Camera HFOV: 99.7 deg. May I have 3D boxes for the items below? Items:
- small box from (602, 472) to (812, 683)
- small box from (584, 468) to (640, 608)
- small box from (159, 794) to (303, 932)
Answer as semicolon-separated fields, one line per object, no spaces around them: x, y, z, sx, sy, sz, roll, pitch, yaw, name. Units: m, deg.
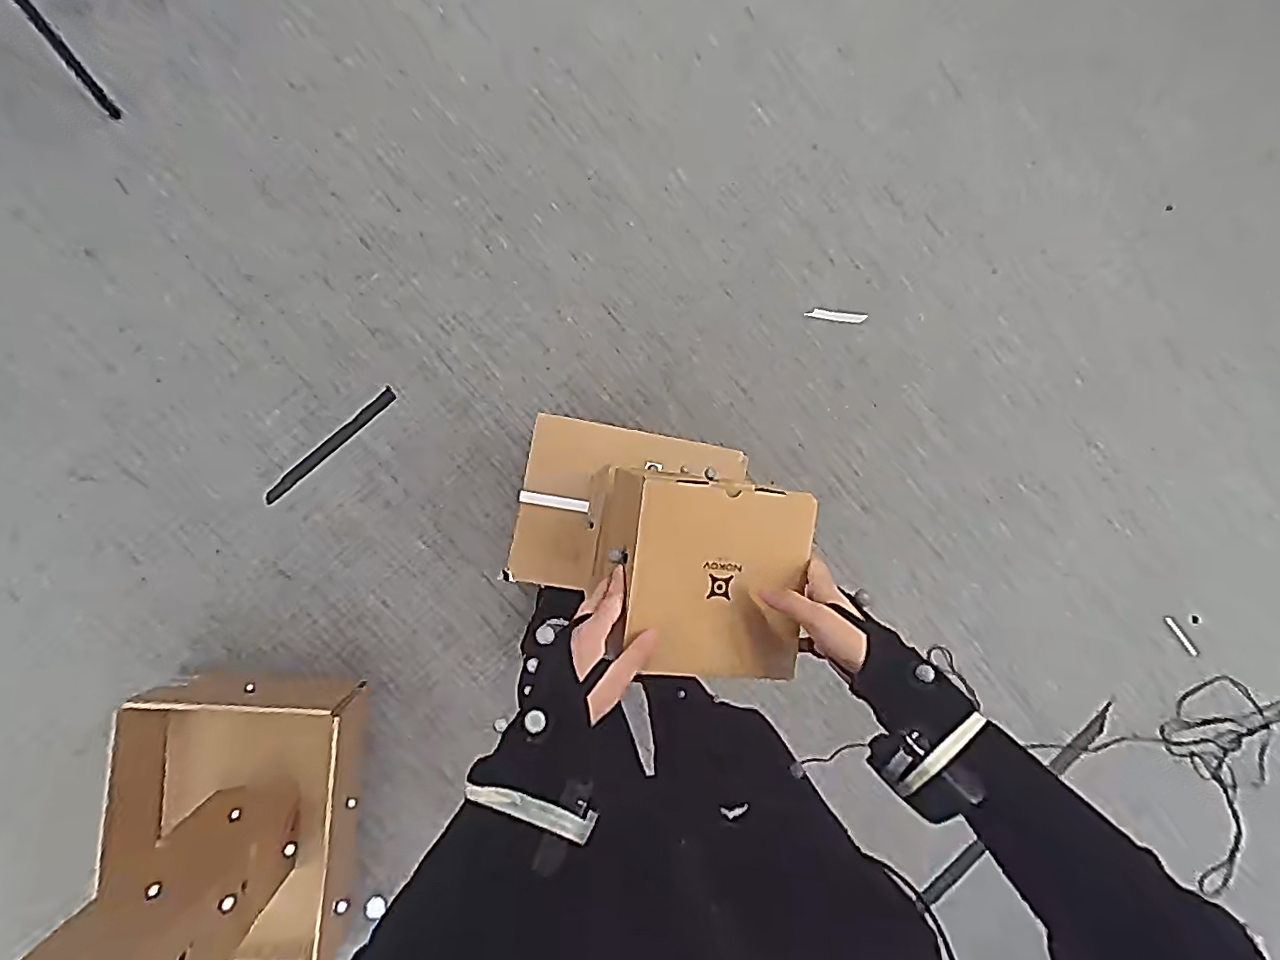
0.055;0.090;0.566;0.168;0.176;0.179;7;91;-11;small box
0.015;0.082;0.755;0.168;0.176;0.179;10;89;-8;small box
-0.812;0.755;1.080;0.179;0.176;0.168;5;89;-8;small box
